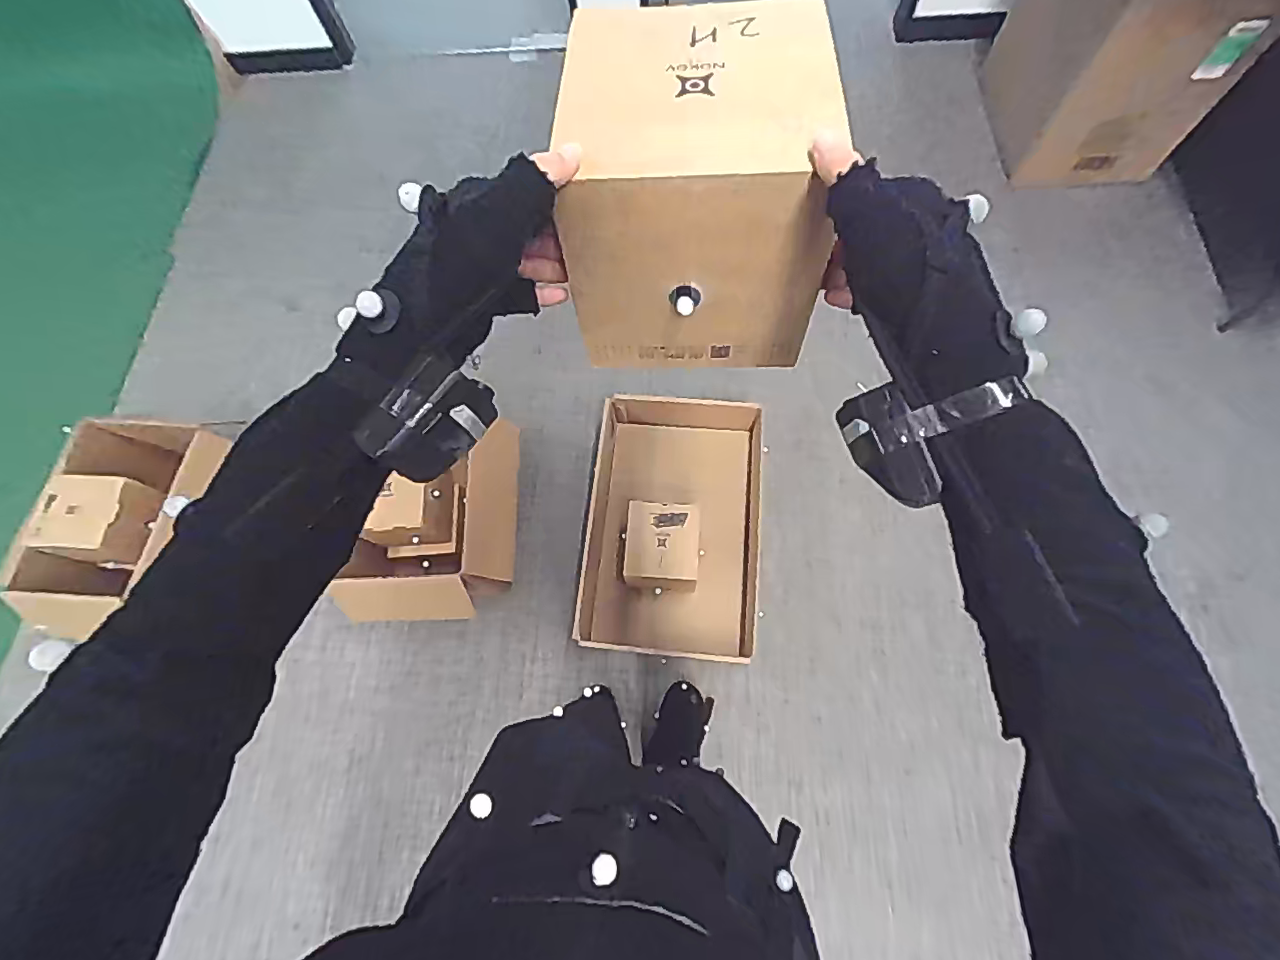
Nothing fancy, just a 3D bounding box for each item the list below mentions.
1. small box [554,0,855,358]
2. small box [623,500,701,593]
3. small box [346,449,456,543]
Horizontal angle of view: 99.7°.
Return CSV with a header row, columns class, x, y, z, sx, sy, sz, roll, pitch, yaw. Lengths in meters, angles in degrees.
class,x,y,z,sx,sy,sz,roll,pitch,yaw
small box,0.043,-0.204,0.396,0.168,0.176,0.179,-1,64,5
small box,0.054,0.161,1.278,0.168,0.176,0.179,3,69,5
small box,-0.528,0.044,1.219,0.168,0.176,0.179,-3,71,2
